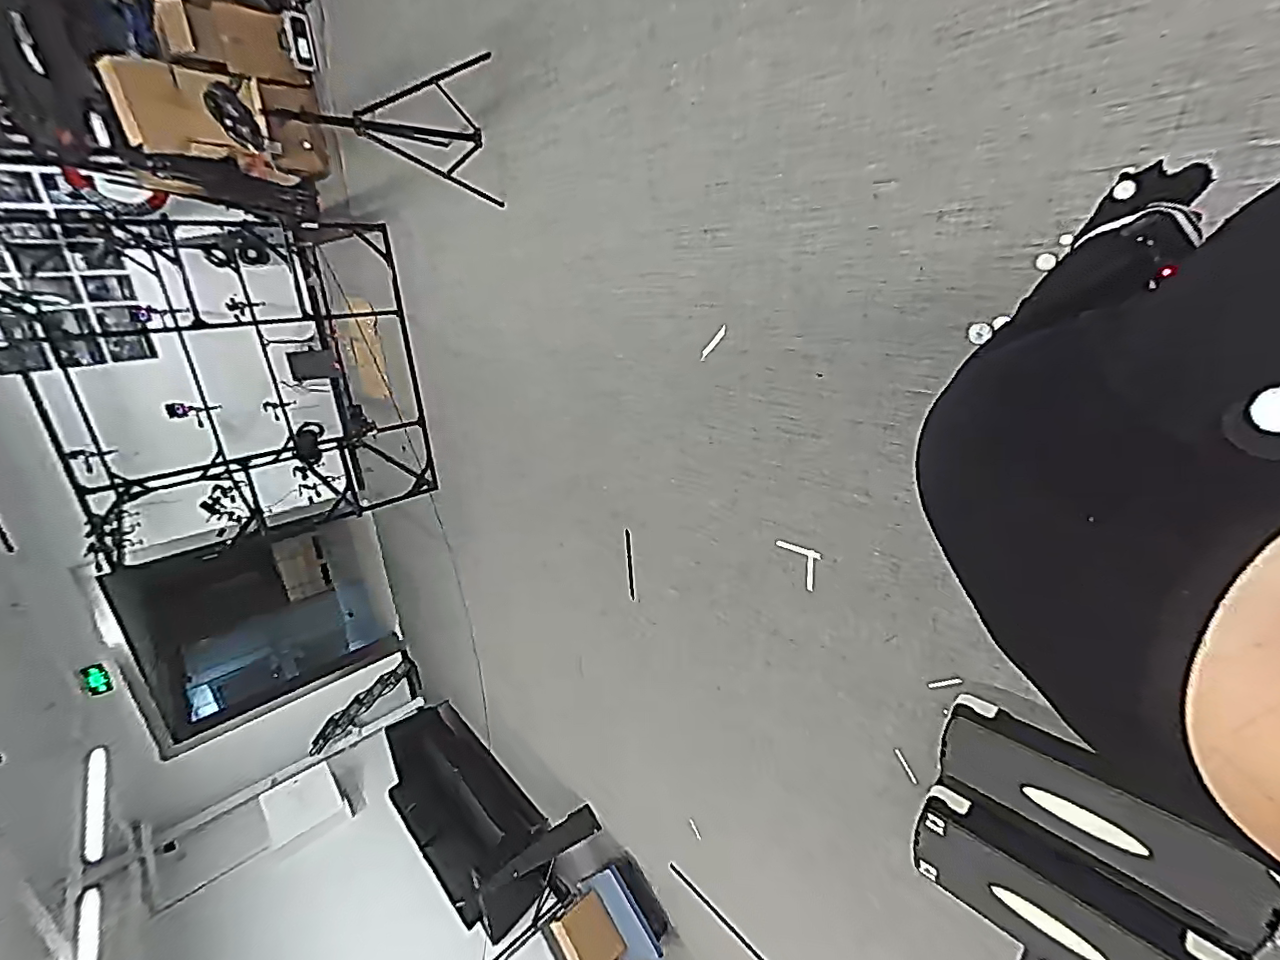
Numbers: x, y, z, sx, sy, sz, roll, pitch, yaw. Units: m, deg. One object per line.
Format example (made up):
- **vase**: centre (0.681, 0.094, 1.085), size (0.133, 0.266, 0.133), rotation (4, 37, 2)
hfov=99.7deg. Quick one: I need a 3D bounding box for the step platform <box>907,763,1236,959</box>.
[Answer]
- **step platform**: centre (1.106, 1.107, 1.472), size (0.684, 0.204, 0.286), rotation (18, 120, 46)
